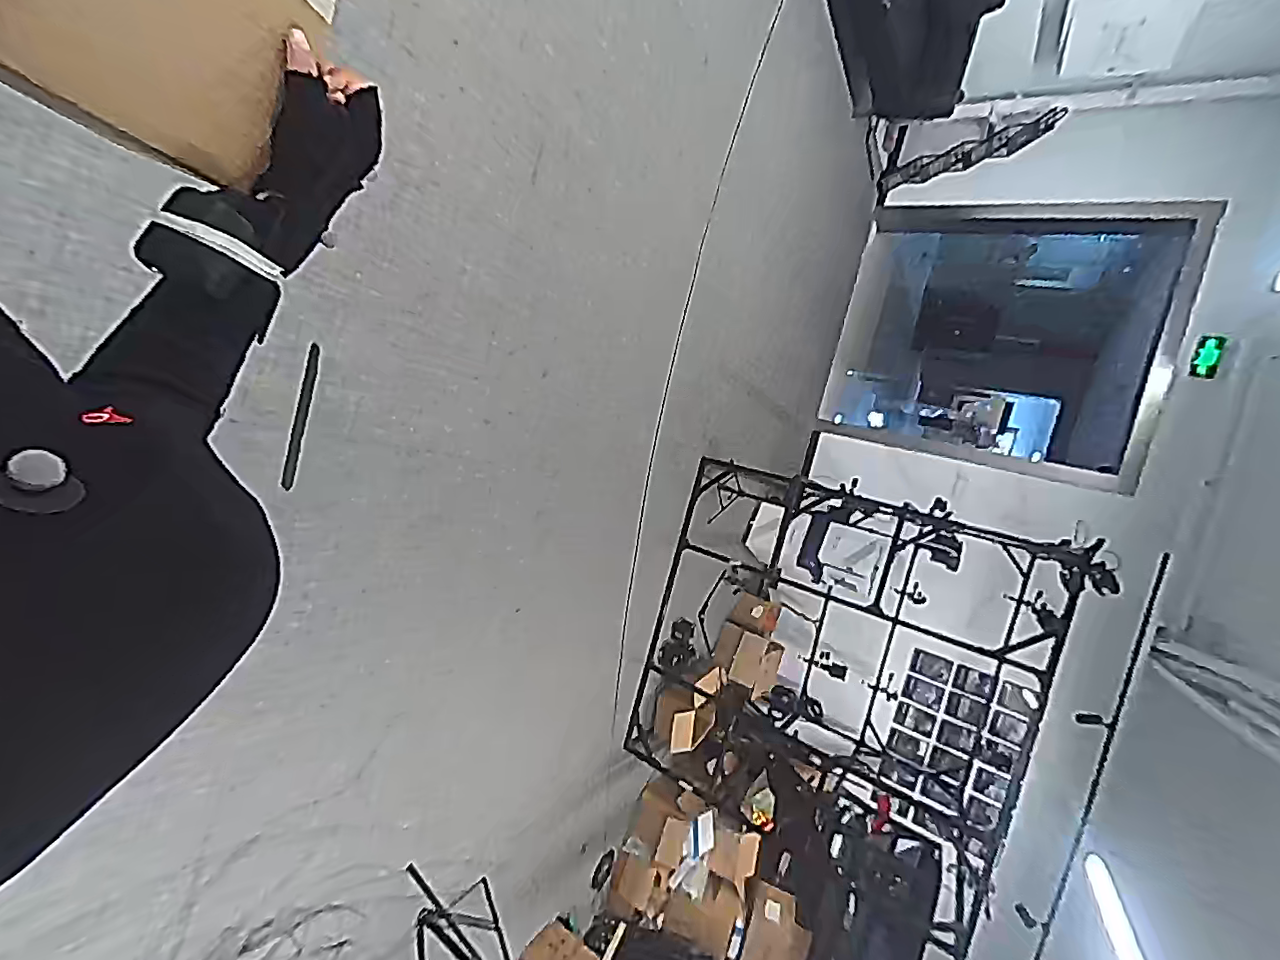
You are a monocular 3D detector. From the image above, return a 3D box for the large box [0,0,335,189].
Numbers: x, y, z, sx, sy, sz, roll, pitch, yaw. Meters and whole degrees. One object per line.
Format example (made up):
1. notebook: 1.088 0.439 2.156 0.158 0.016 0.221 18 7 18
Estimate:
1. large box: -0.450 -0.458 0.321 0.408 0.320 0.320 19 100 -61
